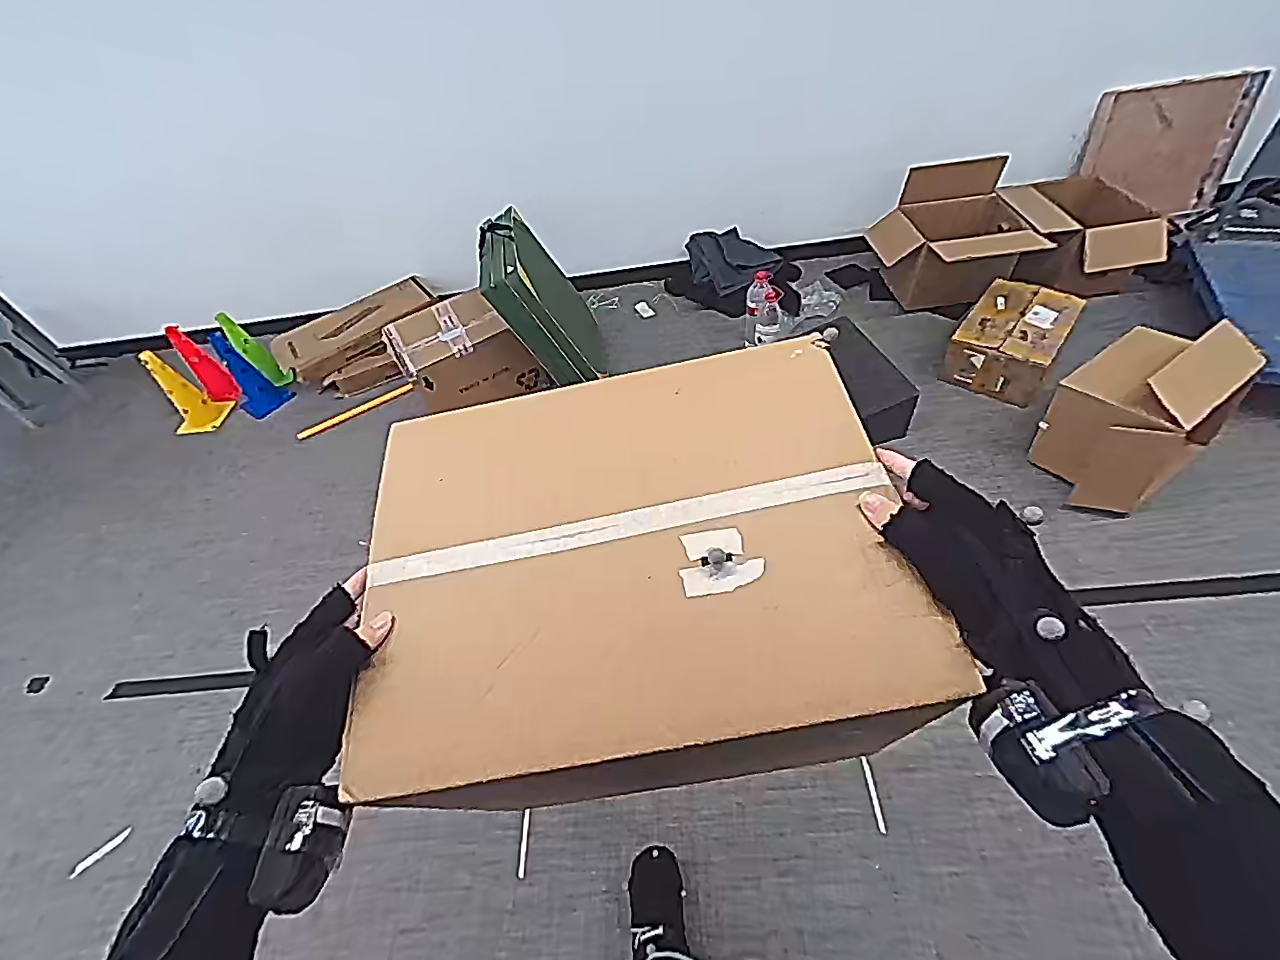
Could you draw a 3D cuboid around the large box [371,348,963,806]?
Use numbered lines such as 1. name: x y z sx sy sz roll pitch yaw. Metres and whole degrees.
1. large box: 0.013 0.120 0.555 0.408 0.320 0.320 -11 57 3
